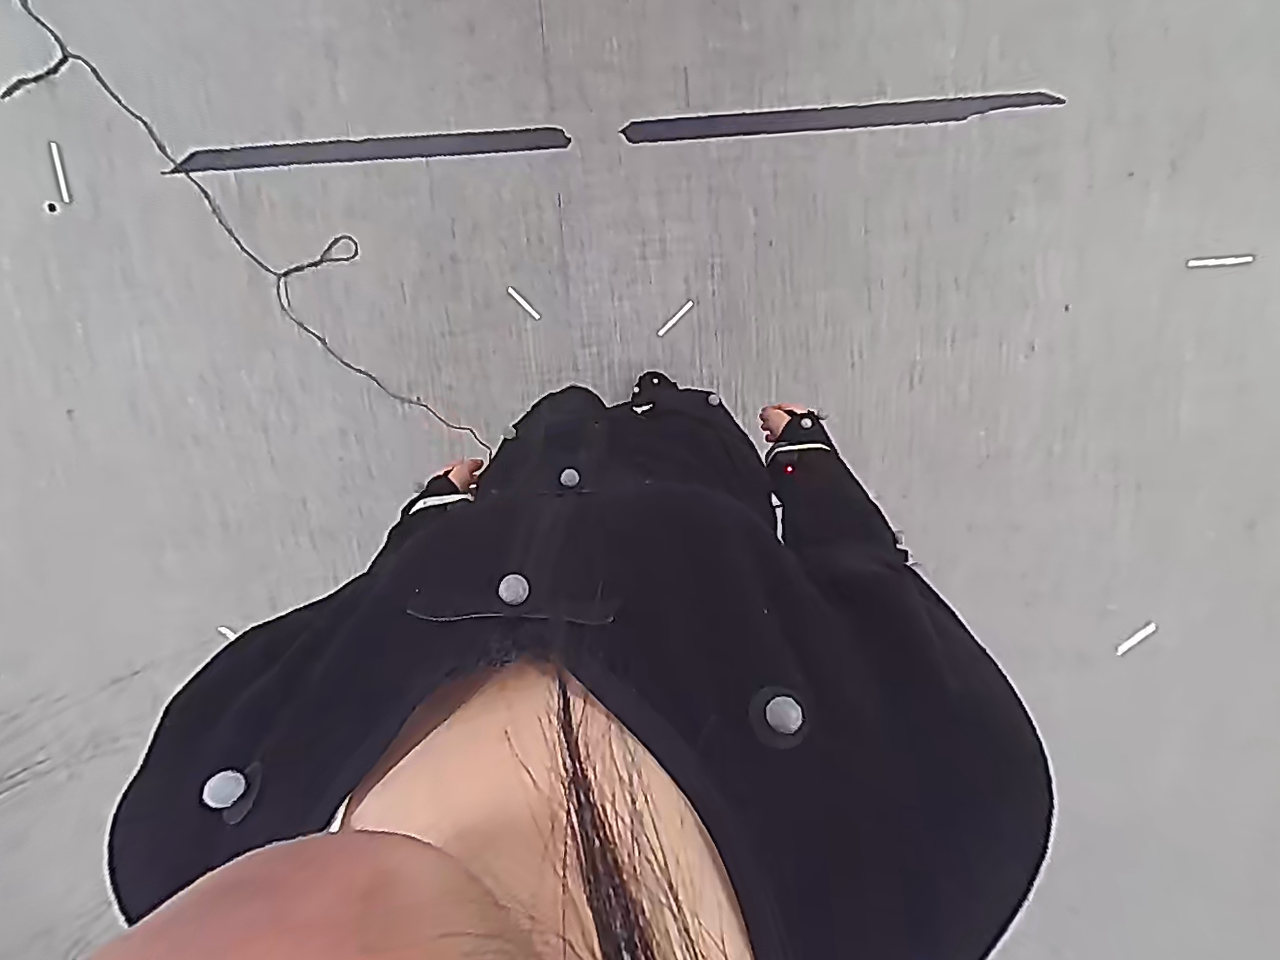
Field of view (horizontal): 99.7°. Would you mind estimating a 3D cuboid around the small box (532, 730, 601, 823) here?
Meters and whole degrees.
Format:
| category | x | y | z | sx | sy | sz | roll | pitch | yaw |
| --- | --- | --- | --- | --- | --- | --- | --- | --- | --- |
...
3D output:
| category | x | y | z | sx | sy | sz | roll | pitch | yaw |
| --- | --- | --- | --- | --- | --- | --- | --- | --- | --- |
| small box | -0.208 | 0.863 | 1.582 | 0.168 | 0.176 | 0.179 | -5 | 102 | 2 |
